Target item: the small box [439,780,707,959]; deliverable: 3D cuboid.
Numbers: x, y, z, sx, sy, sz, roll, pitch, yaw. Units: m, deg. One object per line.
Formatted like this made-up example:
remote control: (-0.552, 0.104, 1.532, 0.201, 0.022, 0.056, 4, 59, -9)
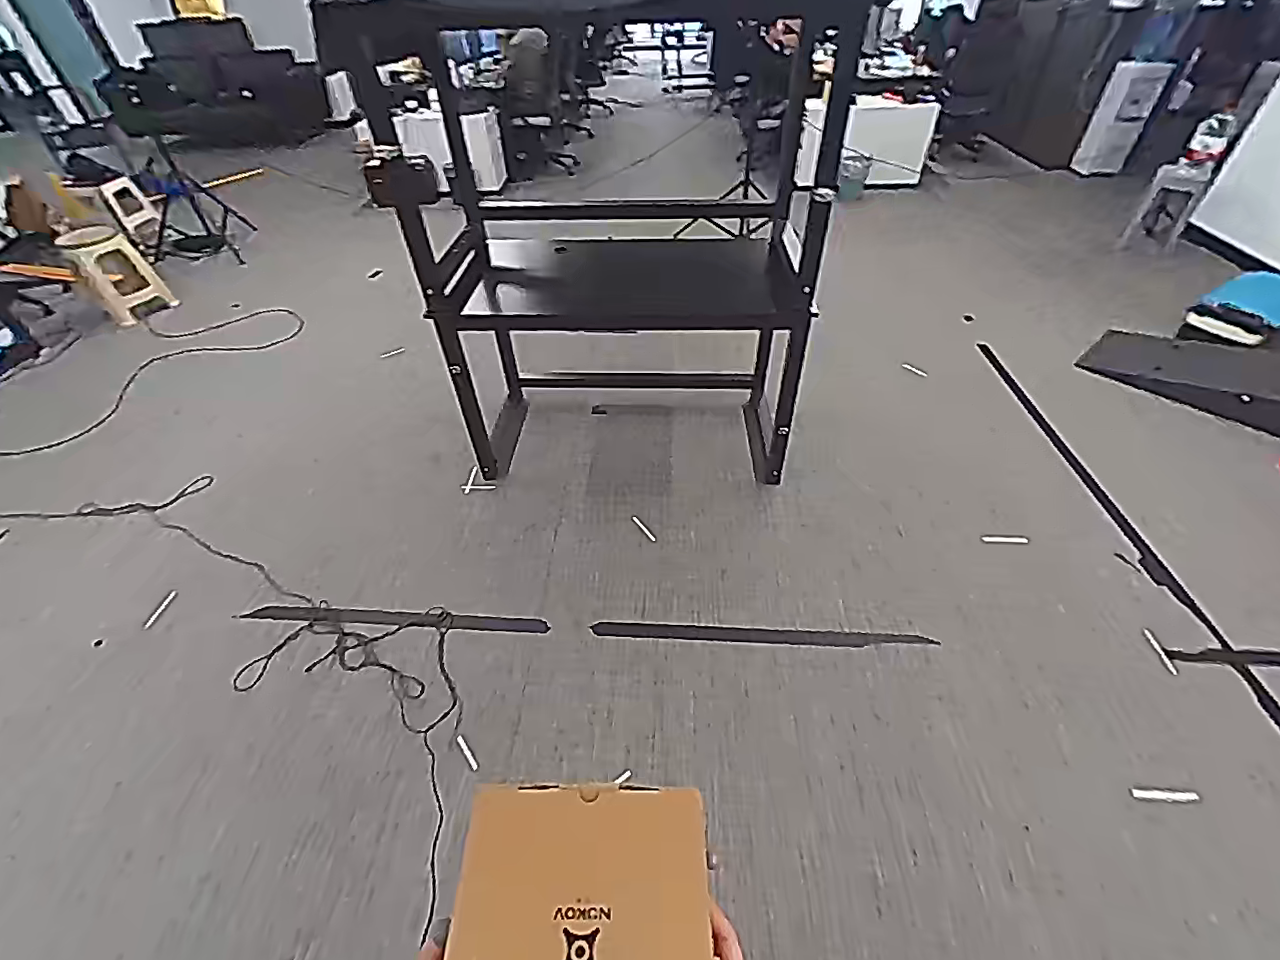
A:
small box: (-0.043, 0.338, 0.390, 0.168, 0.176, 0.179, 1, 43, -3)
